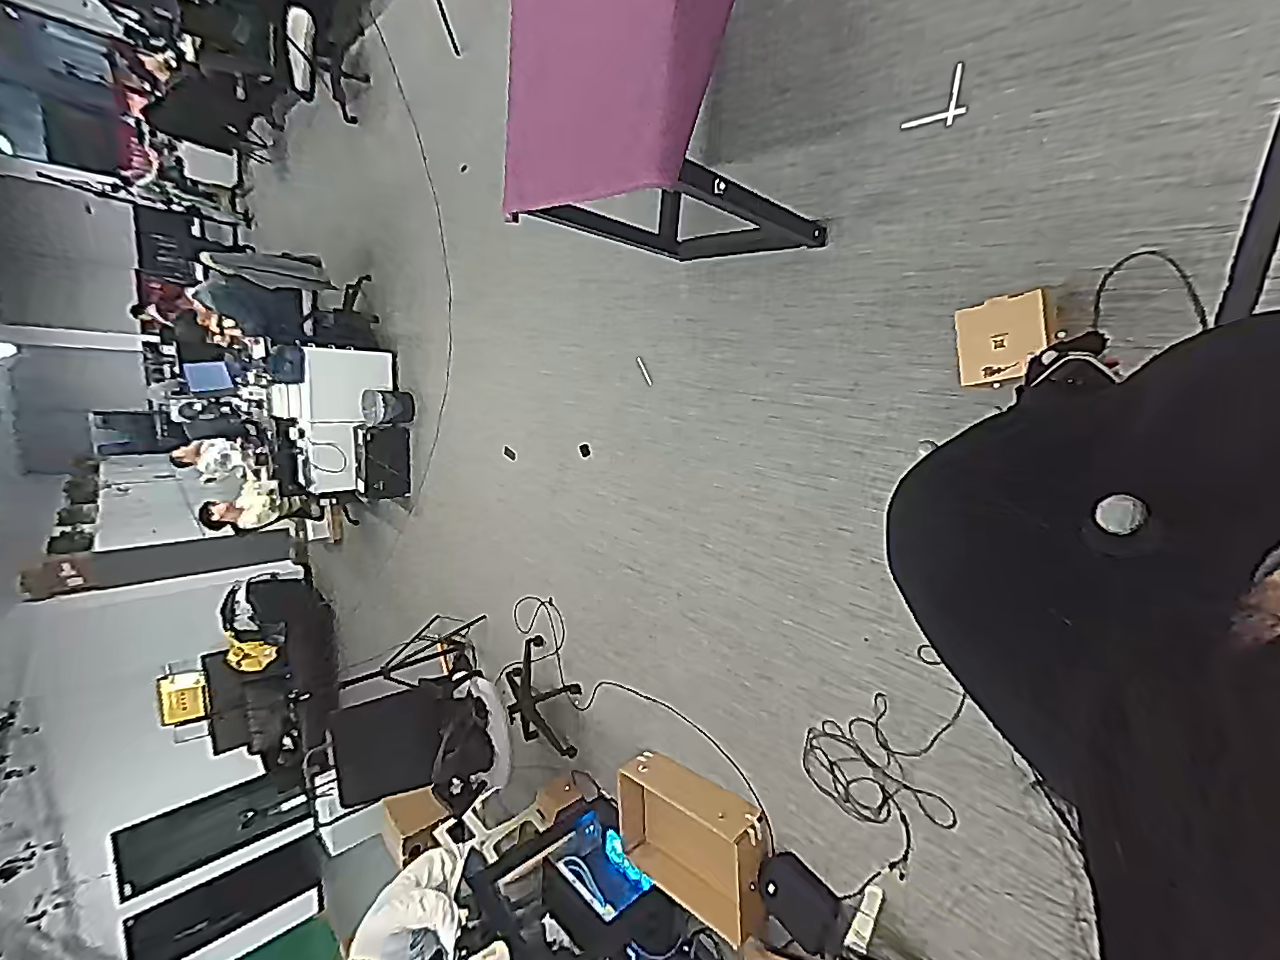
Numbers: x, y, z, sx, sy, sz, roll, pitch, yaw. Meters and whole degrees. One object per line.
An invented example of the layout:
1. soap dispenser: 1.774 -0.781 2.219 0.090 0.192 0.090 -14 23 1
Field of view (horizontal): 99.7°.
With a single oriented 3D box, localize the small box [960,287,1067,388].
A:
1. small box: 0.839 -0.309 1.215 0.168 0.176 0.179 -5 90 46
